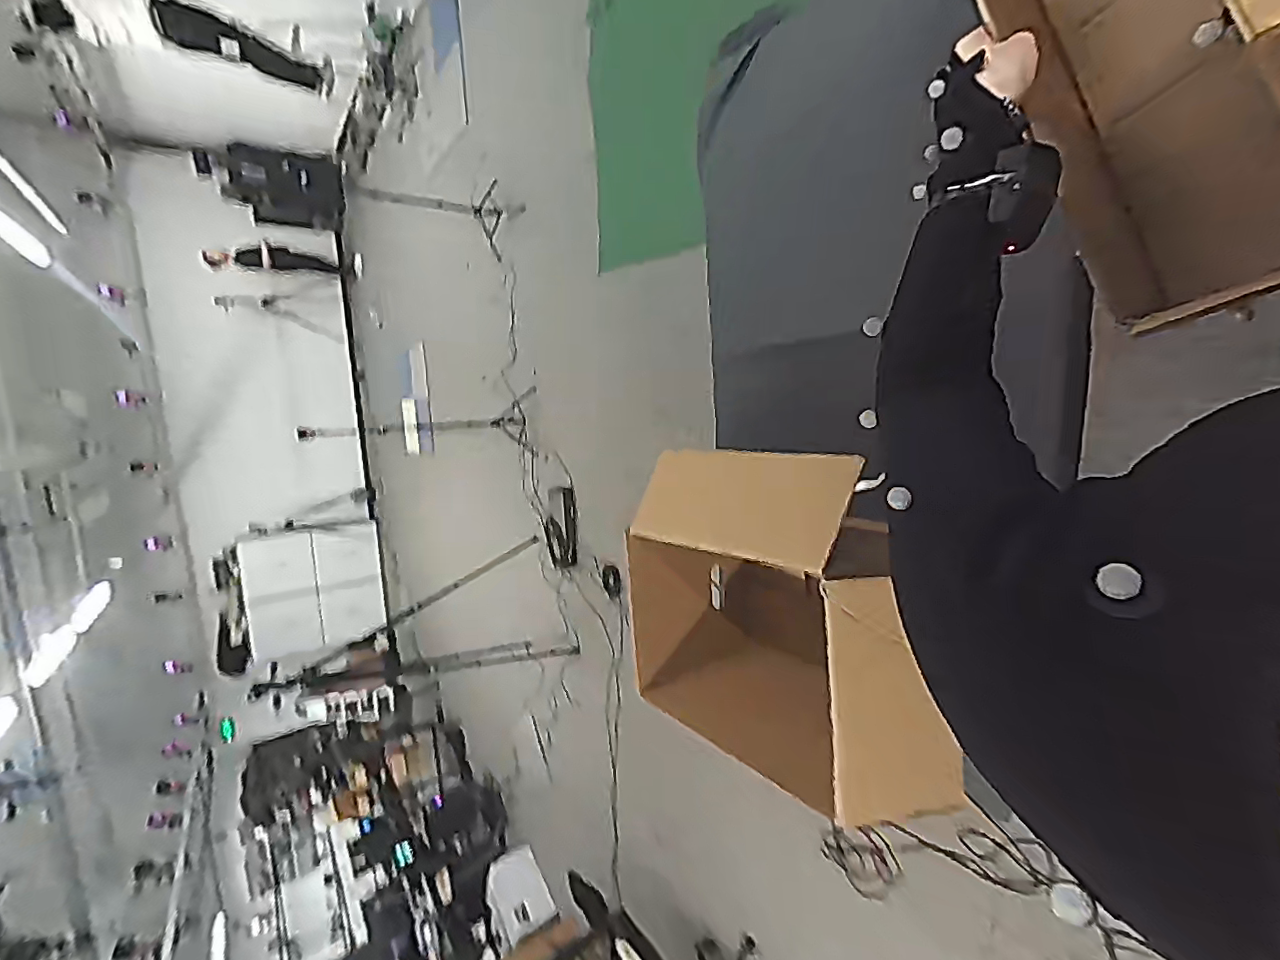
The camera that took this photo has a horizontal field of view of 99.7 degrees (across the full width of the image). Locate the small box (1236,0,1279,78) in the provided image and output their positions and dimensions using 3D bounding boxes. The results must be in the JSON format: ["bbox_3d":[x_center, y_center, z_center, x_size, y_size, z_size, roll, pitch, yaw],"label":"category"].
[{"bbox_3d":[0.347,-0.297,0.211,0.179,0.176,0.168,-26,79,54],"label":"small box"}]
